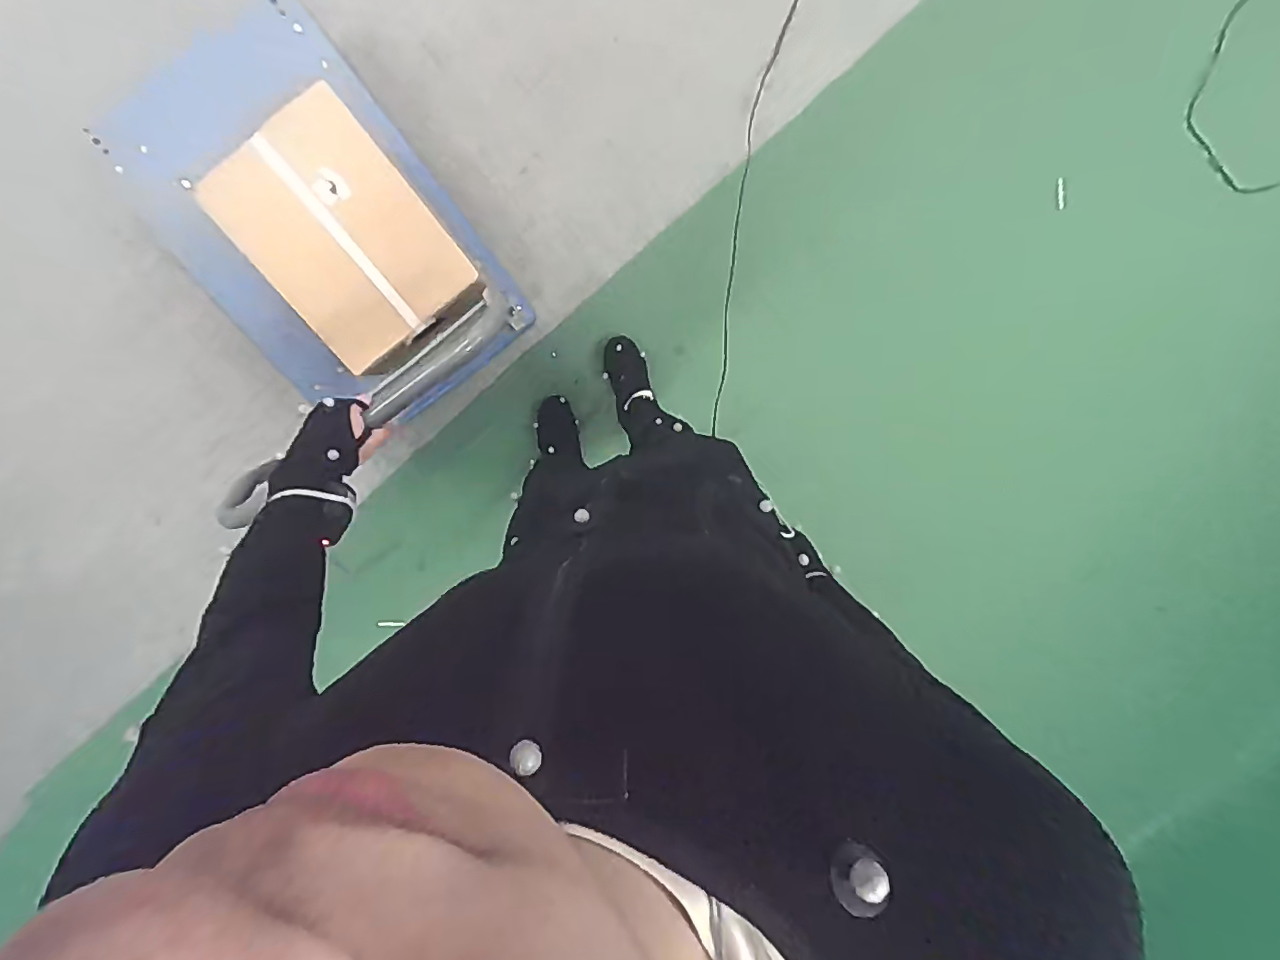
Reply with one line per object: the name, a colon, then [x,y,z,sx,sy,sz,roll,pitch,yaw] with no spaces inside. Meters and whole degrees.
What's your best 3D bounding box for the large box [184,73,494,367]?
large box: [-0.566,-0.488,1.117,0.320,0.320,0.408,-38,105,1]
